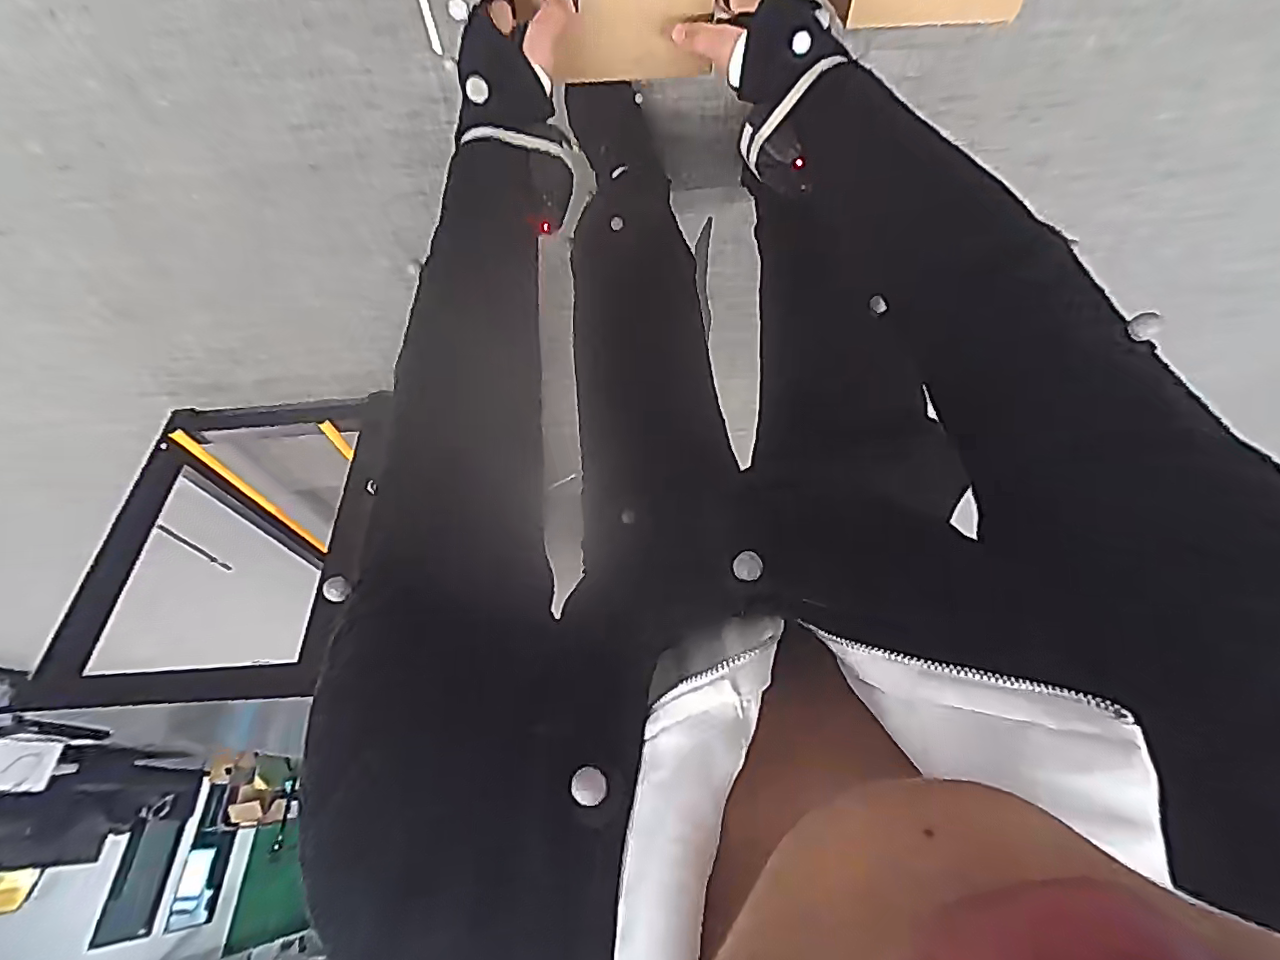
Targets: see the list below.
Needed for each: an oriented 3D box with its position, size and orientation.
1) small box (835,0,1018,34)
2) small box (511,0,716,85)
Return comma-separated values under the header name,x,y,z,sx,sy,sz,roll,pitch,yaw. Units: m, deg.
name,x,y,z,sx,sy,sz,roll,pitch,yaw
small box,0.267,-0.549,0.491,0.168,0.176,0.179,-3,150,0
small box,-0.026,-0.482,0.486,0.179,0.176,0.168,-4,144,-2
